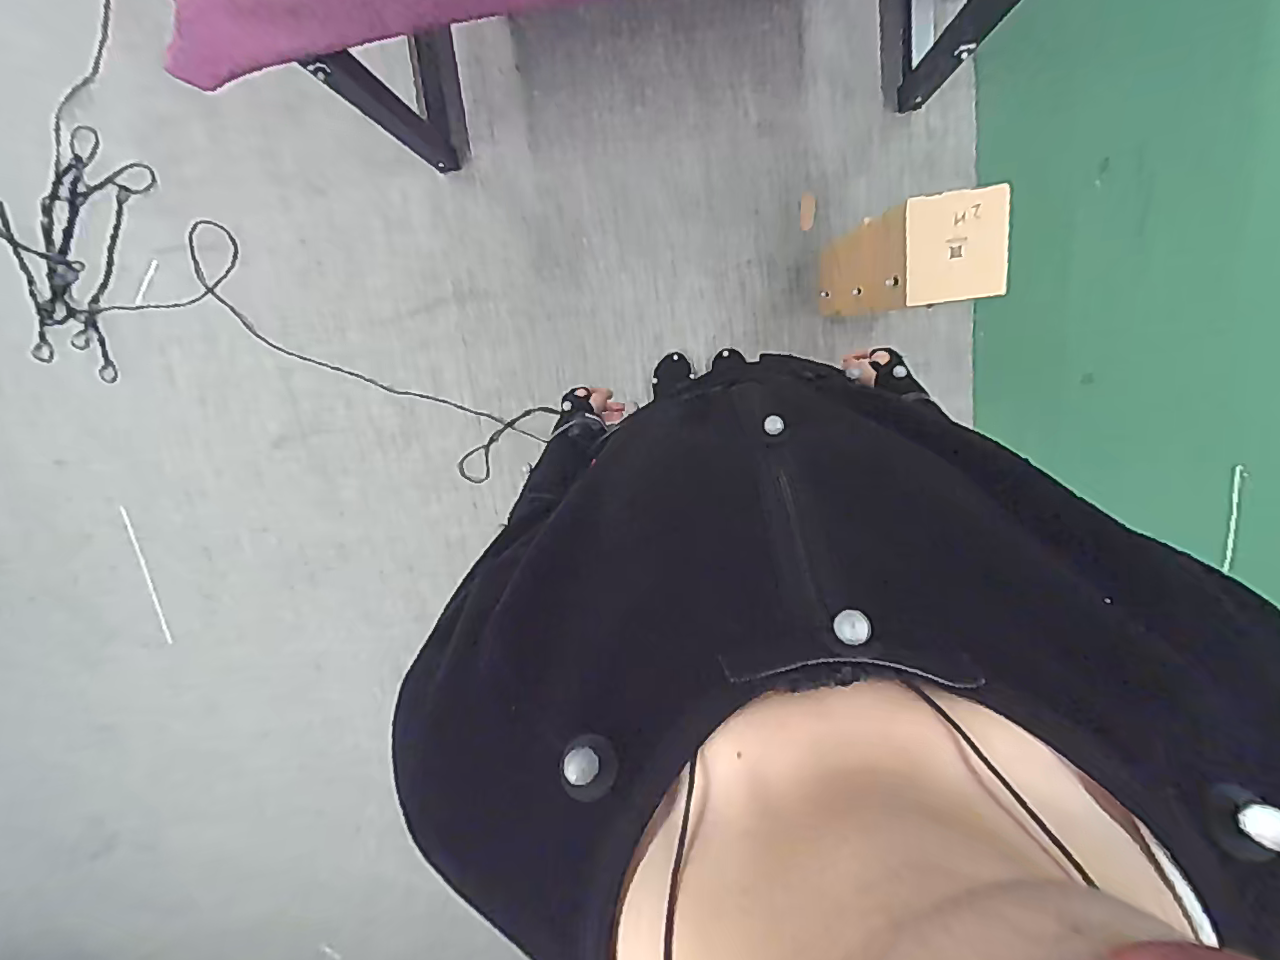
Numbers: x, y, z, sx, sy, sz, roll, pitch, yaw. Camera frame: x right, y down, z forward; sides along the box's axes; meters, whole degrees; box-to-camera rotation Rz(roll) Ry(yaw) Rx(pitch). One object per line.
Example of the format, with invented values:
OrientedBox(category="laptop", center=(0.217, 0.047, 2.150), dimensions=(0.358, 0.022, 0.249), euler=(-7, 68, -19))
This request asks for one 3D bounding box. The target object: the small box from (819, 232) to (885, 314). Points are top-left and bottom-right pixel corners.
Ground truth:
OrientedBox(category="small box", center=(0.533, -0.494, 1.293), dimensions=(0.179, 0.176, 0.168), euler=(-4, 103, 5))

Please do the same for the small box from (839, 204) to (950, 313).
OrientedBox(category="small box", center=(0.527, -0.456, 1.136), dimensions=(0.168, 0.176, 0.179), euler=(-7, 103, 6))
